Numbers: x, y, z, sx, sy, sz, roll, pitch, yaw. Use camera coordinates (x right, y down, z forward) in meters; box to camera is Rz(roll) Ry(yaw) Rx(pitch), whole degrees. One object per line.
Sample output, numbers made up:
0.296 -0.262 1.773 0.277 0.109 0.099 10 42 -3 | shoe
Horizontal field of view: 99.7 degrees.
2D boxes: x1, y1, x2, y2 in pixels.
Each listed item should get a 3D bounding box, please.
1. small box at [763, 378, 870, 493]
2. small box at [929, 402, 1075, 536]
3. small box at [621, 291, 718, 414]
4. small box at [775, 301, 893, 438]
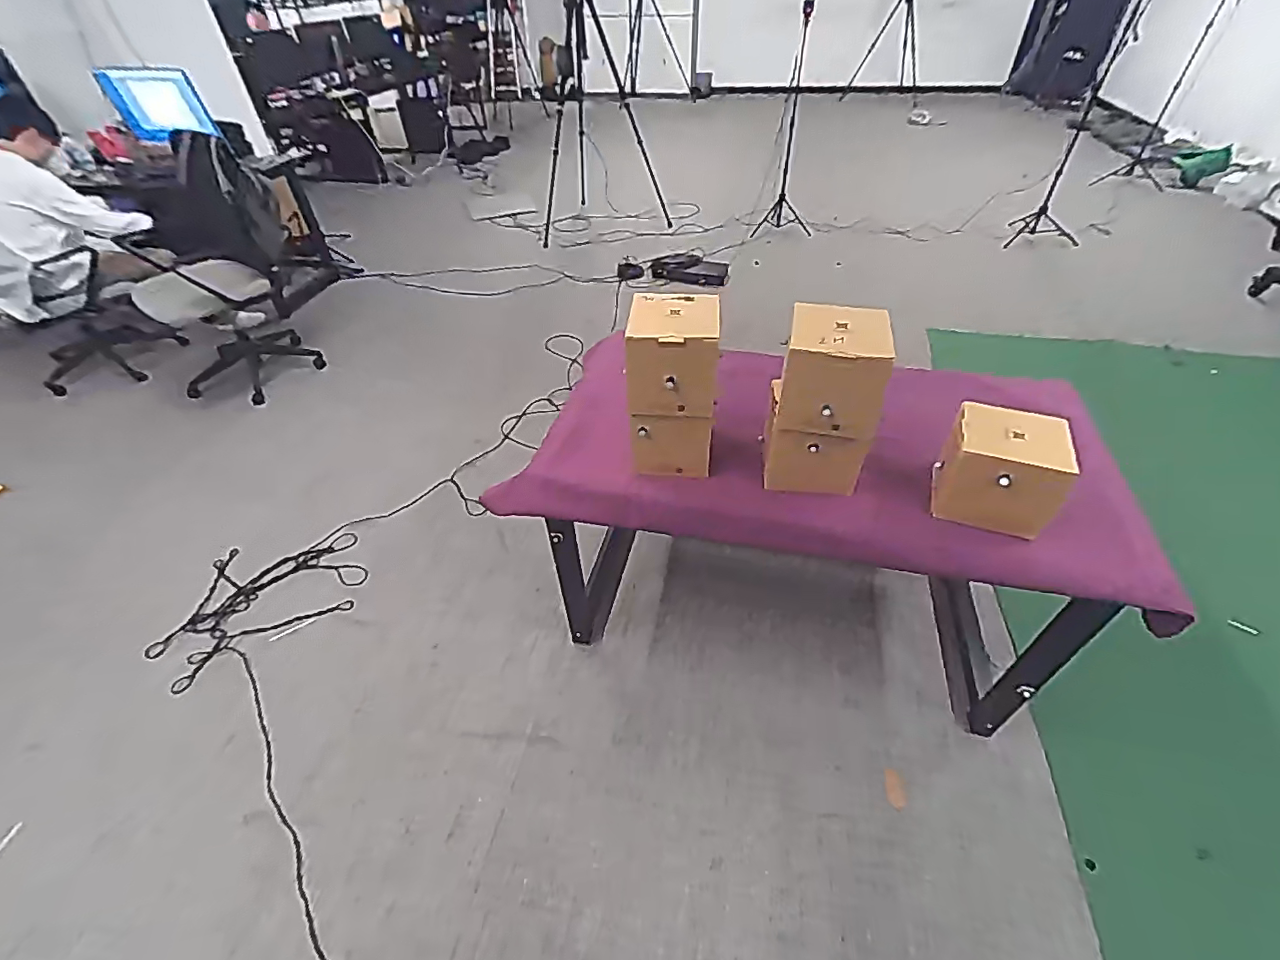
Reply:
0.346 -0.089 1.102 0.179 0.176 0.168 5 44 6 | small box
0.668 -0.018 1.015 0.179 0.176 0.168 15 45 19 | small box
0.061 -0.243 1.034 0.168 0.176 0.179 4 45 5 | small box
0.344 -0.202 0.982 0.168 0.176 0.179 9 45 12 | small box
